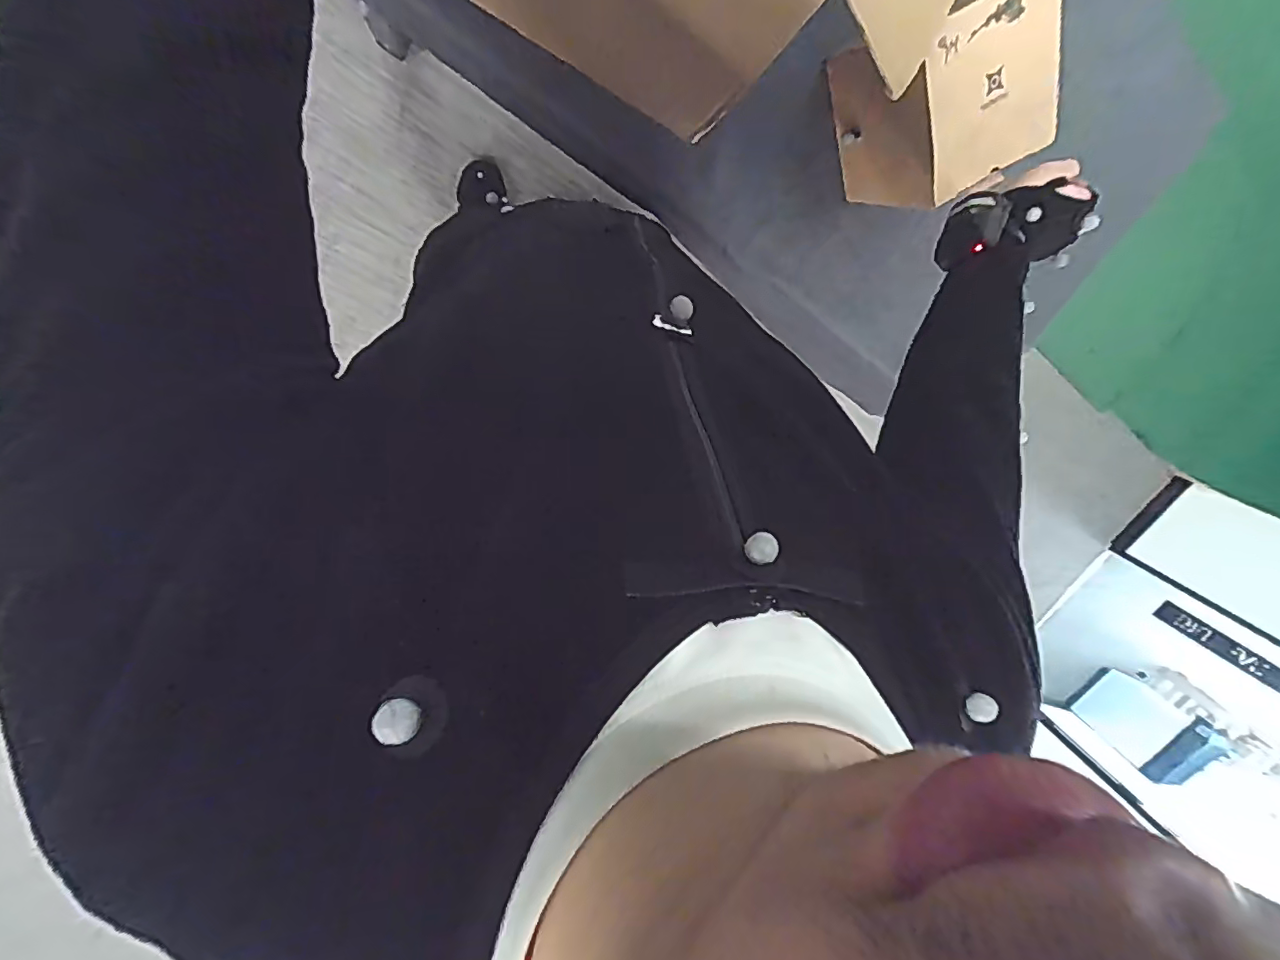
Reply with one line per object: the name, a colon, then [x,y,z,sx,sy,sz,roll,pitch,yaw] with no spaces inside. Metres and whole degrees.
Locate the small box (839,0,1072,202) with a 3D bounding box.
small box: [0.364,-0.464,0.648,0.168,0.176,0.179,-26,125,0]
